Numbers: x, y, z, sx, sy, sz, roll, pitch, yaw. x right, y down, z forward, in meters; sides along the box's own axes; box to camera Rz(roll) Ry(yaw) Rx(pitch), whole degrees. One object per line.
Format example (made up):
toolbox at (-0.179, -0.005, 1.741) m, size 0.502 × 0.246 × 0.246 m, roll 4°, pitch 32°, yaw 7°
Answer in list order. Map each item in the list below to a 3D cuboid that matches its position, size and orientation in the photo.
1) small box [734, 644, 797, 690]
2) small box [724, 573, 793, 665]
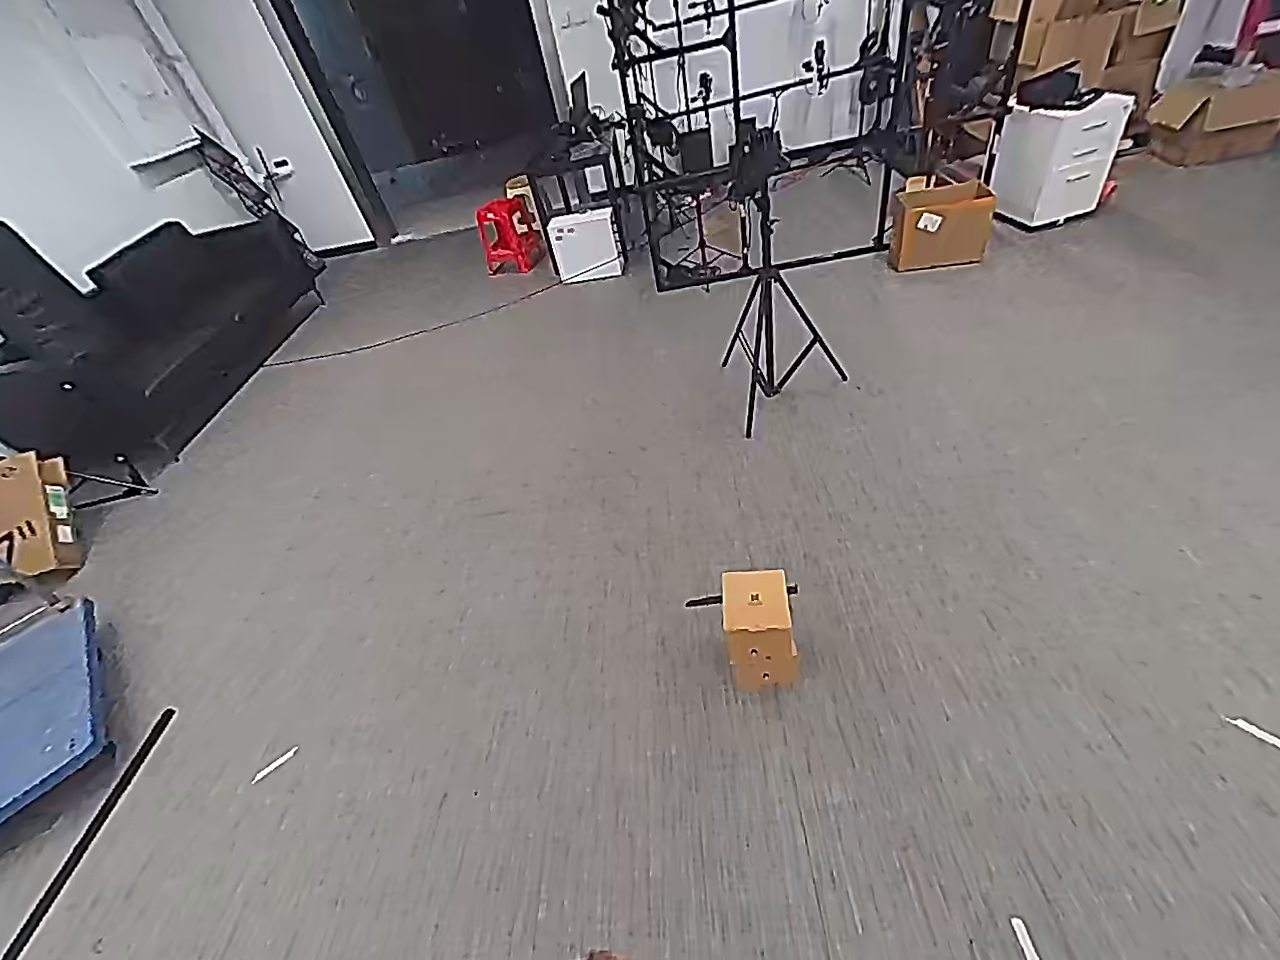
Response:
small box at (0.347, 0.480, 1.538) m, size 0.168 × 0.176 × 0.179 m, roll -9°, pitch 41°, yaw 6°
small box at (0.310, 0.366, 1.428) m, size 0.168 × 0.176 × 0.179 m, roll -5°, pitch 43°, yaw 11°
